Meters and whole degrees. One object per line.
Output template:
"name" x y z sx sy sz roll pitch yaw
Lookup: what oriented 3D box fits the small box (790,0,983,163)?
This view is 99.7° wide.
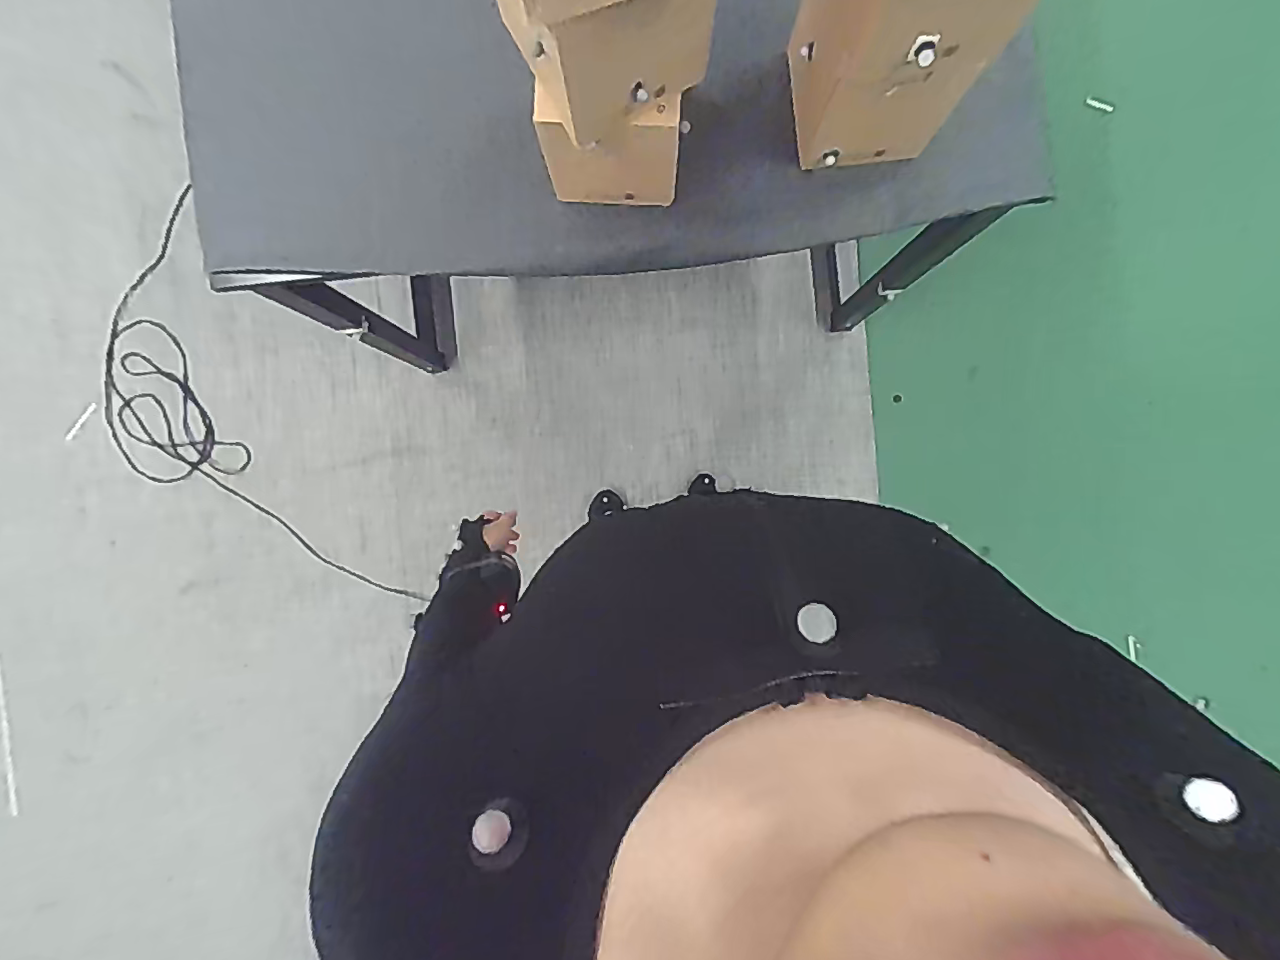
"small box" 0.294 -0.526 0.676 0.168 0.176 0.179 -5 87 2

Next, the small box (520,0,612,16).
"small box" -0.037 -0.461 0.355 0.168 0.176 0.179 -17 89 1

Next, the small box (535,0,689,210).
"small box" -0.031 -0.475 0.683 0.168 0.176 0.179 3 88 1
